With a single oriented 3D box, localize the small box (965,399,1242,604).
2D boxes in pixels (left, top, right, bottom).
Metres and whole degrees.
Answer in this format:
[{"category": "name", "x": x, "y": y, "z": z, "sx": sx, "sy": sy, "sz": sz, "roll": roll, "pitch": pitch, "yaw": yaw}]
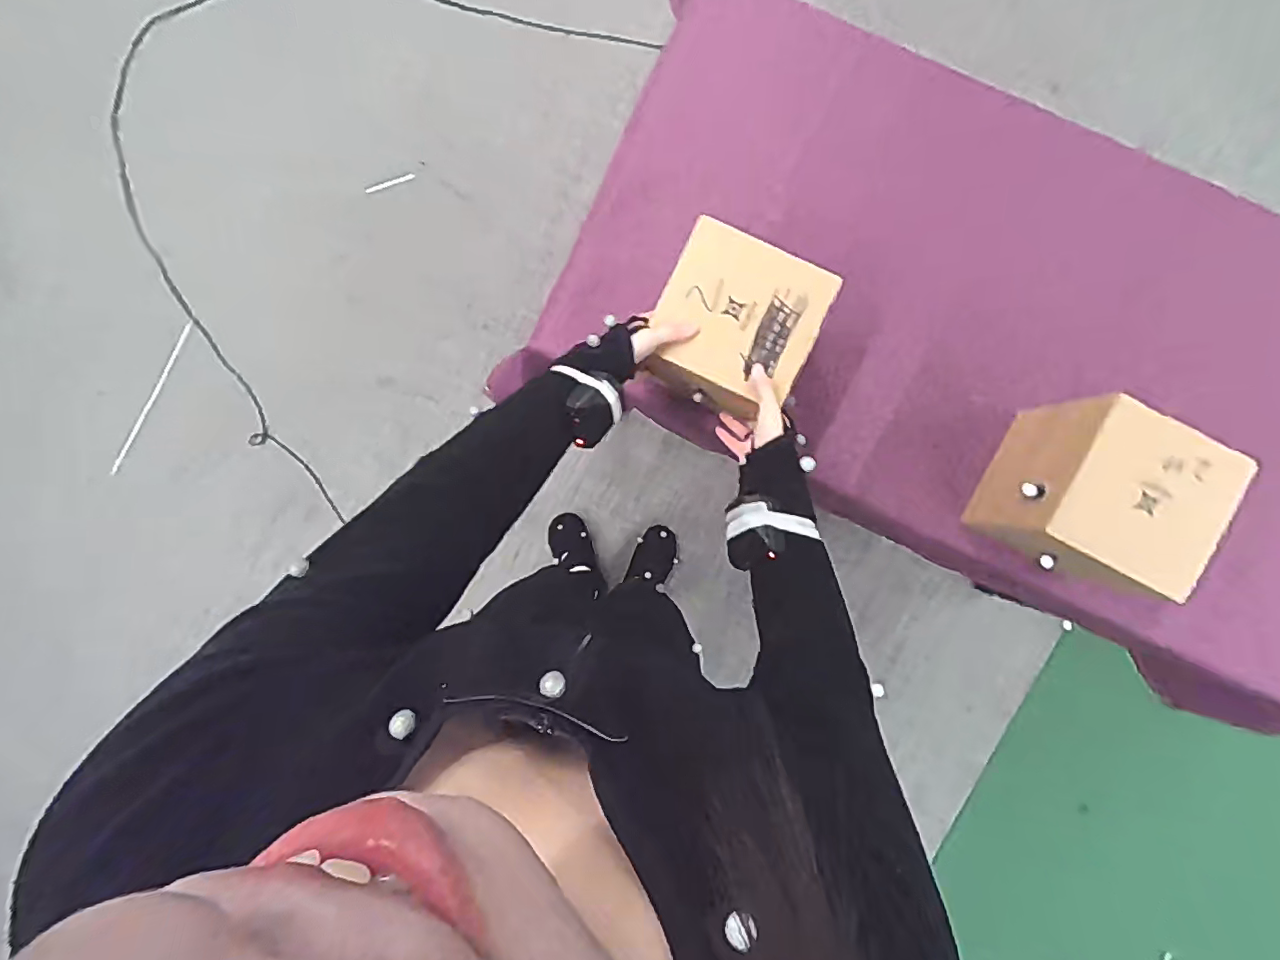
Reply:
[{"category": "small box", "x": 0.549, "y": 0.024, "z": 0.673, "sx": 0.168, "sy": 0.176, "sz": 0.179, "roll": 29, "pitch": 90, "yaw": 1}]
